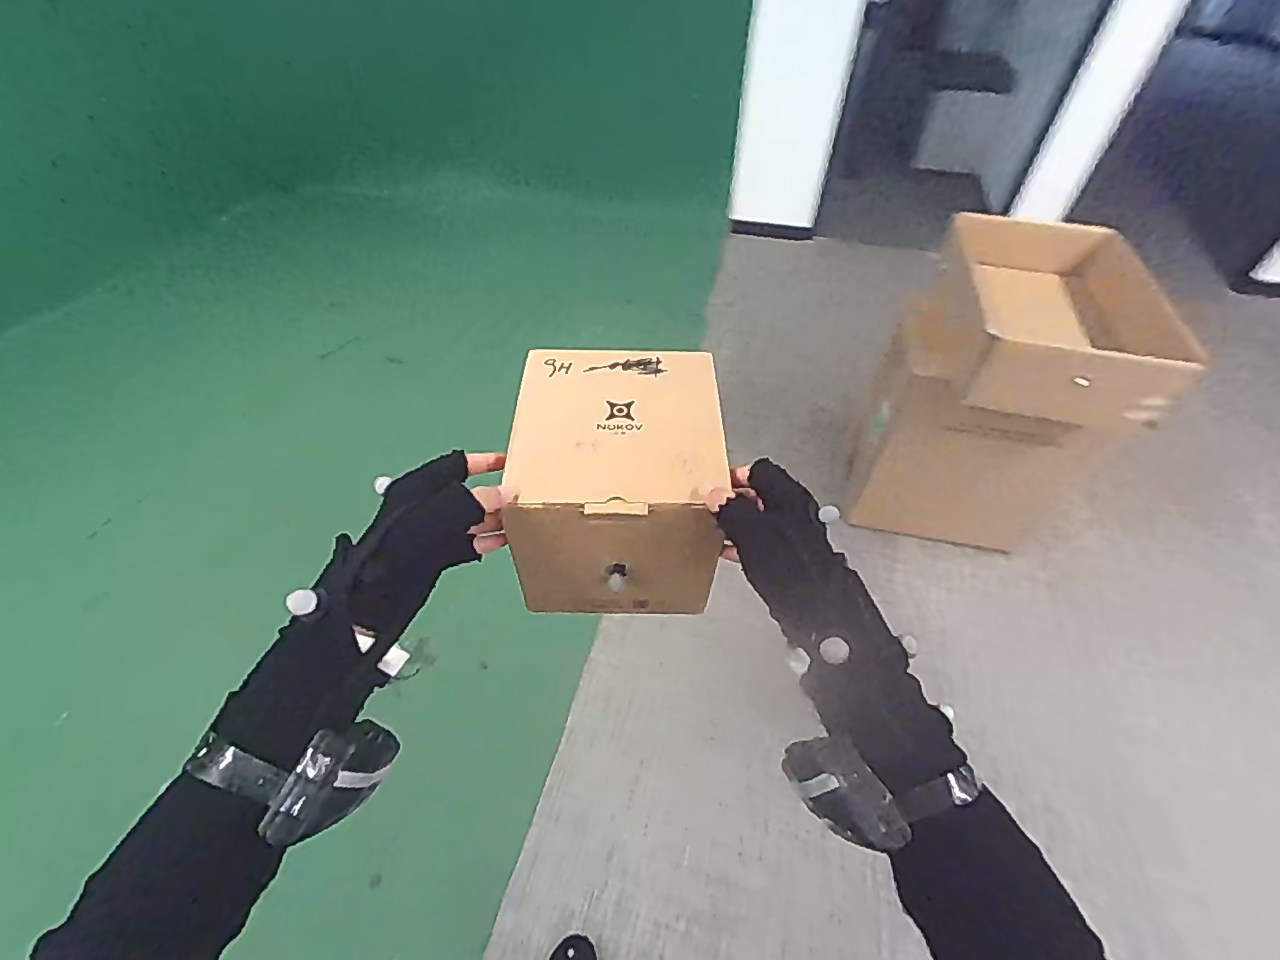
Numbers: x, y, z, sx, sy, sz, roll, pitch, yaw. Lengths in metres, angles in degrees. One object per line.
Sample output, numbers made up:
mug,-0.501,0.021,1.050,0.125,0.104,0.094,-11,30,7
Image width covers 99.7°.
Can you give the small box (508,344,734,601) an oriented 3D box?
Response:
small box,-0.012,-0.002,0.497,0.168,0.176,0.179,2,52,-1
